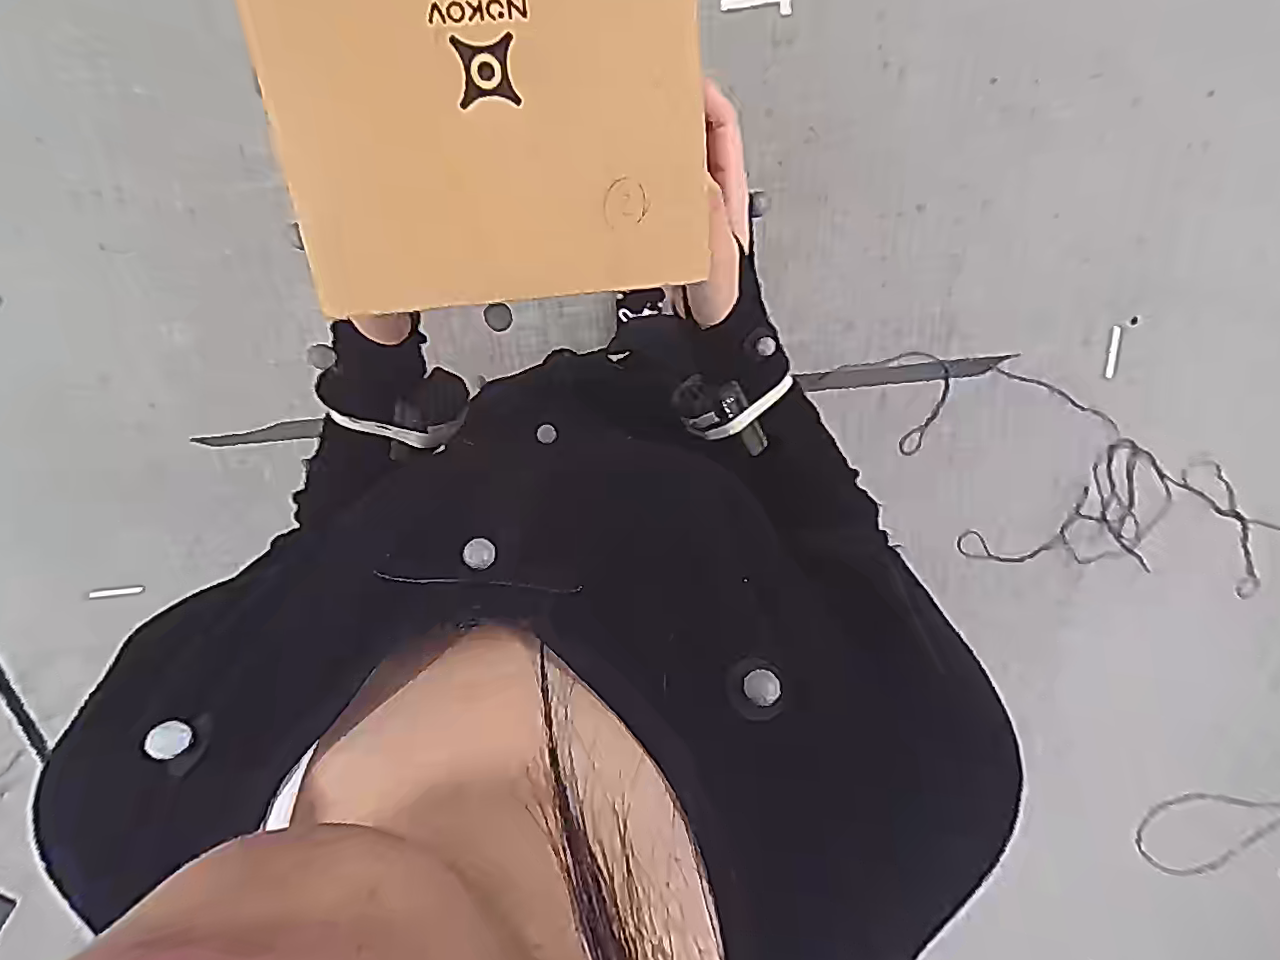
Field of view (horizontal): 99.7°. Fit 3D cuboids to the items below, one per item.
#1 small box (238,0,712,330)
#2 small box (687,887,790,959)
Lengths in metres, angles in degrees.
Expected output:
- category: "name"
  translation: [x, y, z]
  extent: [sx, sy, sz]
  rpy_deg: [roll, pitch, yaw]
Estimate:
- category: "small box"
  translation: [-0.062, -0.180, 0.276]
  extent: [0.168, 0.176, 0.179]
  rpy_deg: [-8, 110, -2]
- category: "small box"
  translation: [0.175, 0.869, 0.958]
  extent: [0.168, 0.176, 0.179]
  rpy_deg: [-4, 107, -1]
